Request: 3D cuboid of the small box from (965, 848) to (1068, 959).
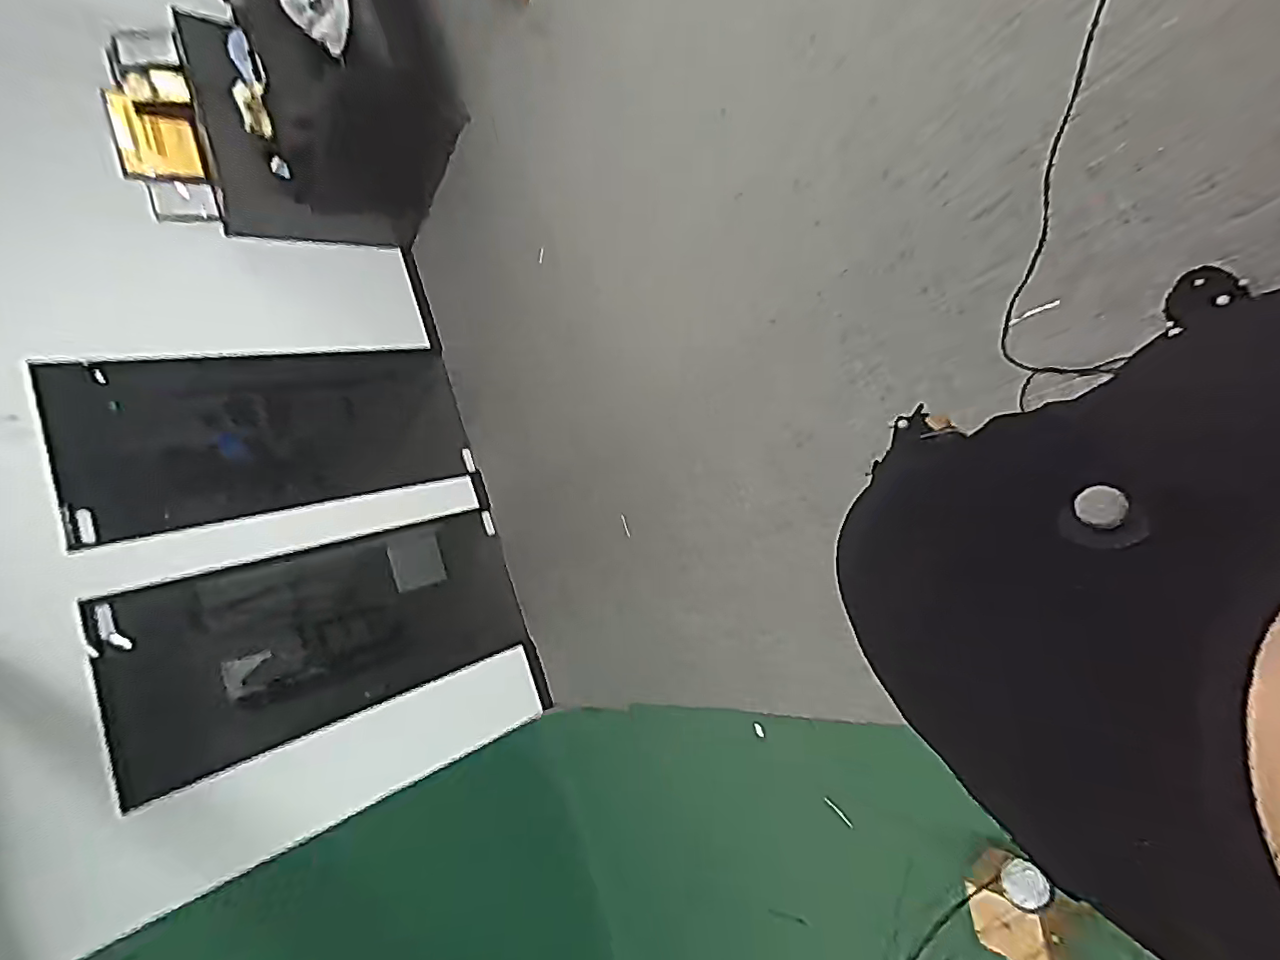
[{"bbox_3d":[0.991,1.121,1.421,0.168,0.176,0.179,-14,90,52],"label":"small box"}]
